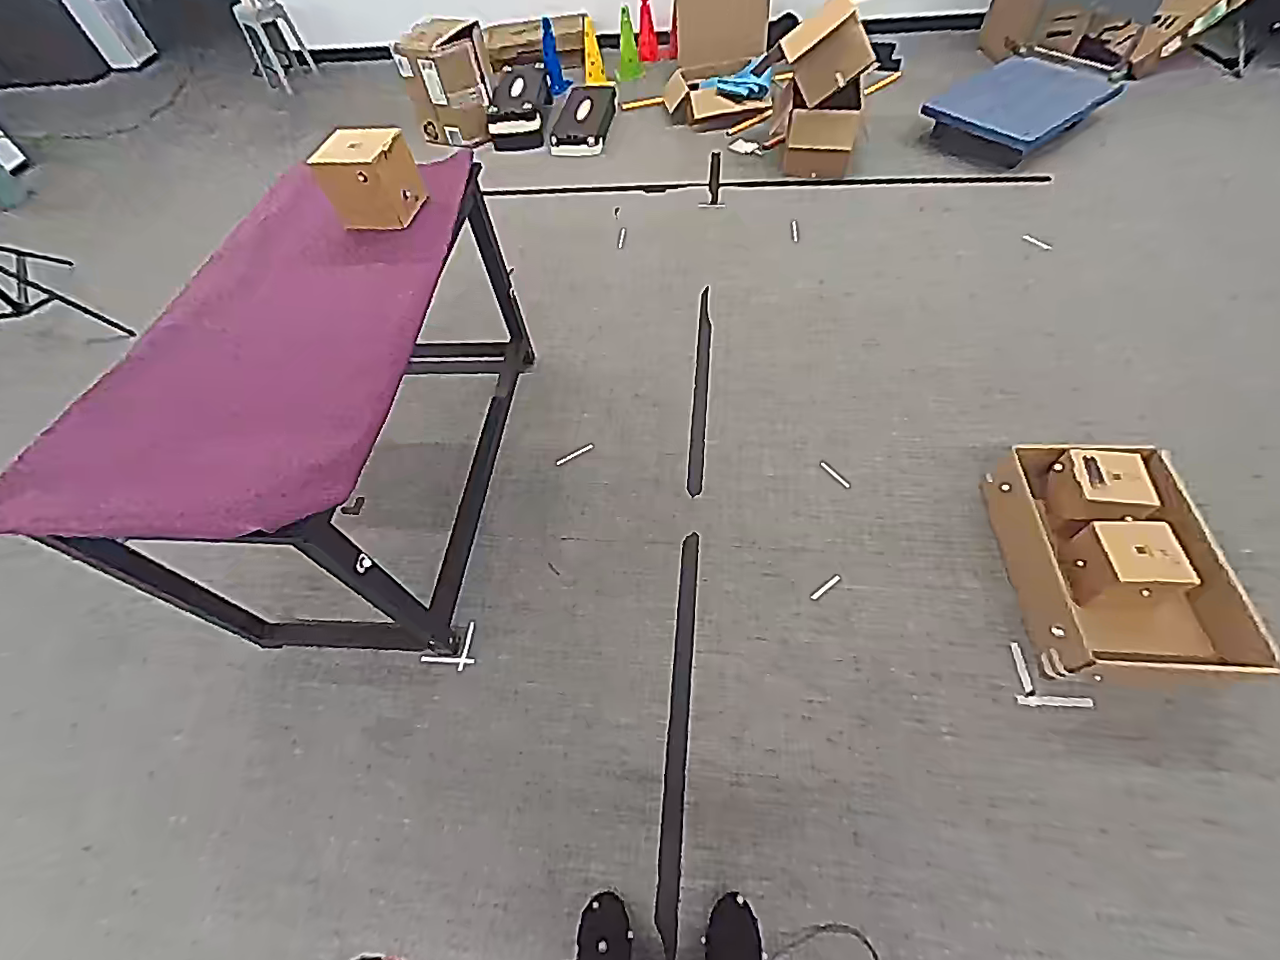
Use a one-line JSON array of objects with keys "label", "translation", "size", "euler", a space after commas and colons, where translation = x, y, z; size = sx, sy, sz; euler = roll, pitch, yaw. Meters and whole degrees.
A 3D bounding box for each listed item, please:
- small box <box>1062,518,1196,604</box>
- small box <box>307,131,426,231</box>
[{"label": "small box", "translation": [1.223, 0.209, 1.377], "size": [0.179, 0.176, 0.168], "euler": [0, 56, 6]}, {"label": "small box", "translation": [-0.678, -0.748, 1.360], "size": [0.179, 0.176, 0.168], "euler": [5, 57, 9]}]
